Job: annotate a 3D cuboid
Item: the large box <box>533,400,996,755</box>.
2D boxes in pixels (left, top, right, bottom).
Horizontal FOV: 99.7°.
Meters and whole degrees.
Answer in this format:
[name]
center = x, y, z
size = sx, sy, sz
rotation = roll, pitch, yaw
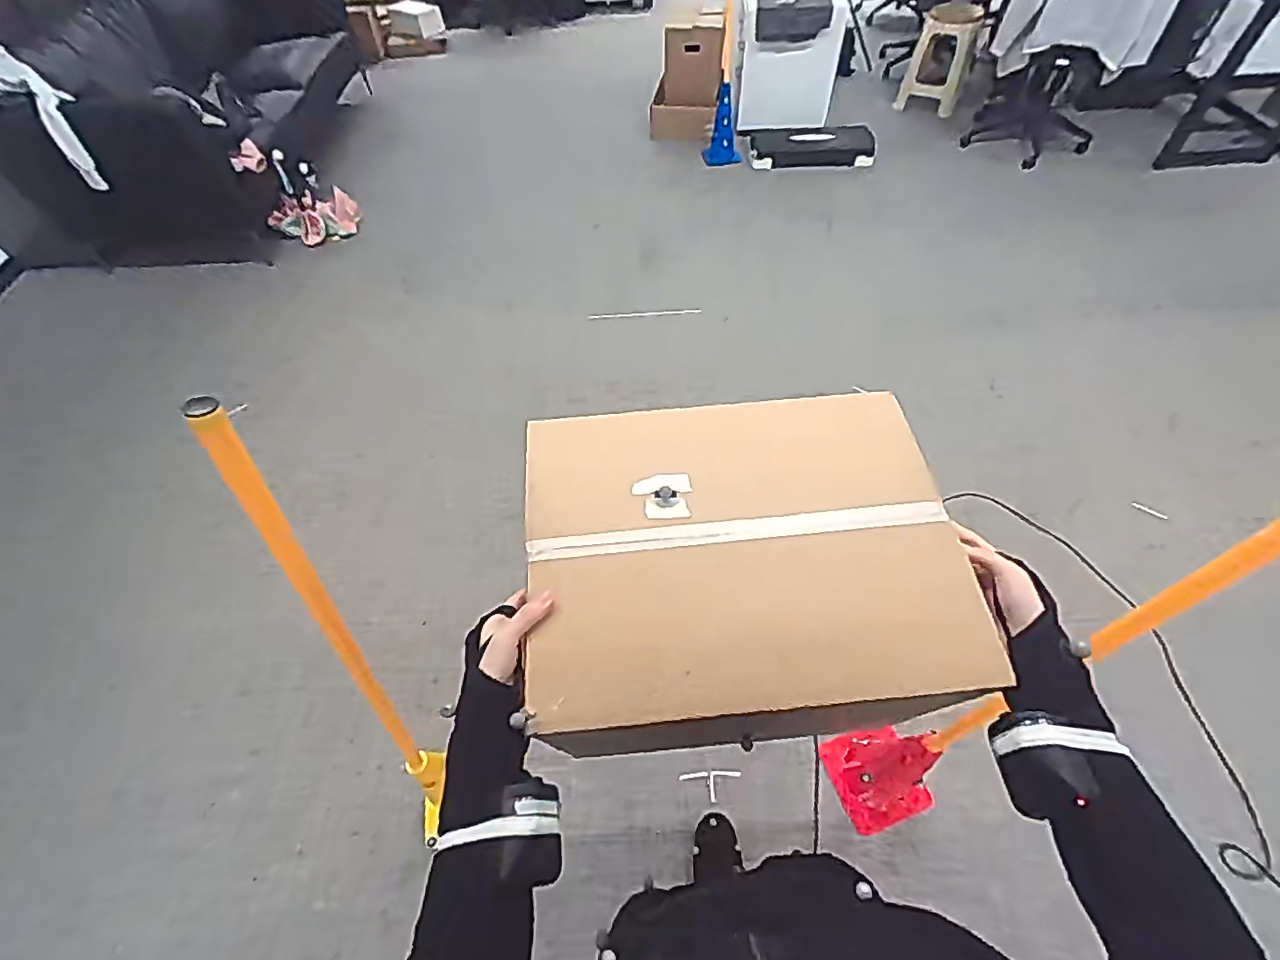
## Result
[large box]
center = 0.102, 0.136, 0.660
size = 0.408, 0.320, 0.320
rotation = -6, 59, -1
